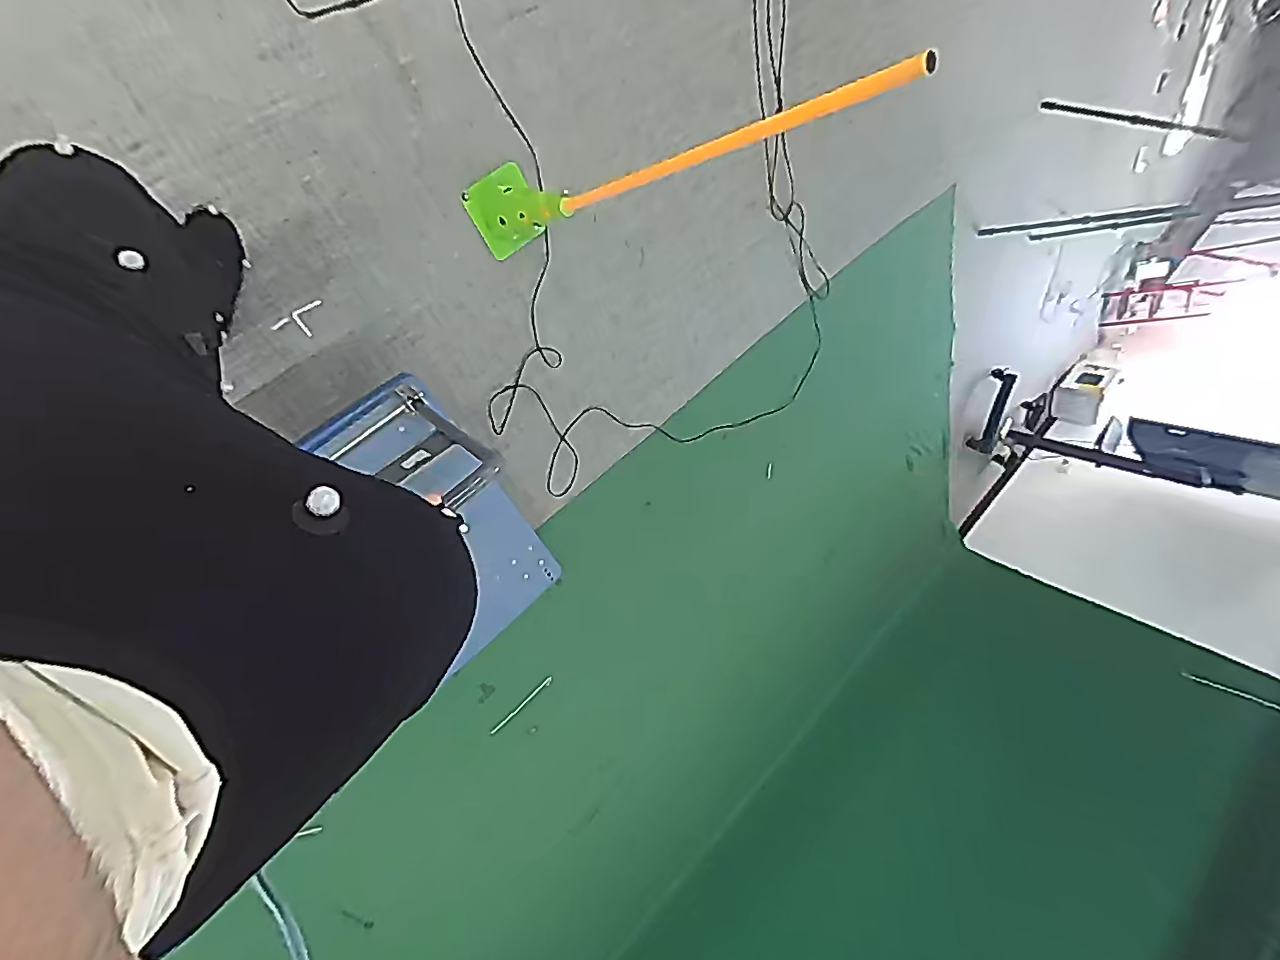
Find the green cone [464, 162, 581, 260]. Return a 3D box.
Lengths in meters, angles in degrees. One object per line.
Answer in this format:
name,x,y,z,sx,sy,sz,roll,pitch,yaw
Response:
green cone,-0.271,-0.709,1.418,0.202,0.368,0.200,-45,132,-16
